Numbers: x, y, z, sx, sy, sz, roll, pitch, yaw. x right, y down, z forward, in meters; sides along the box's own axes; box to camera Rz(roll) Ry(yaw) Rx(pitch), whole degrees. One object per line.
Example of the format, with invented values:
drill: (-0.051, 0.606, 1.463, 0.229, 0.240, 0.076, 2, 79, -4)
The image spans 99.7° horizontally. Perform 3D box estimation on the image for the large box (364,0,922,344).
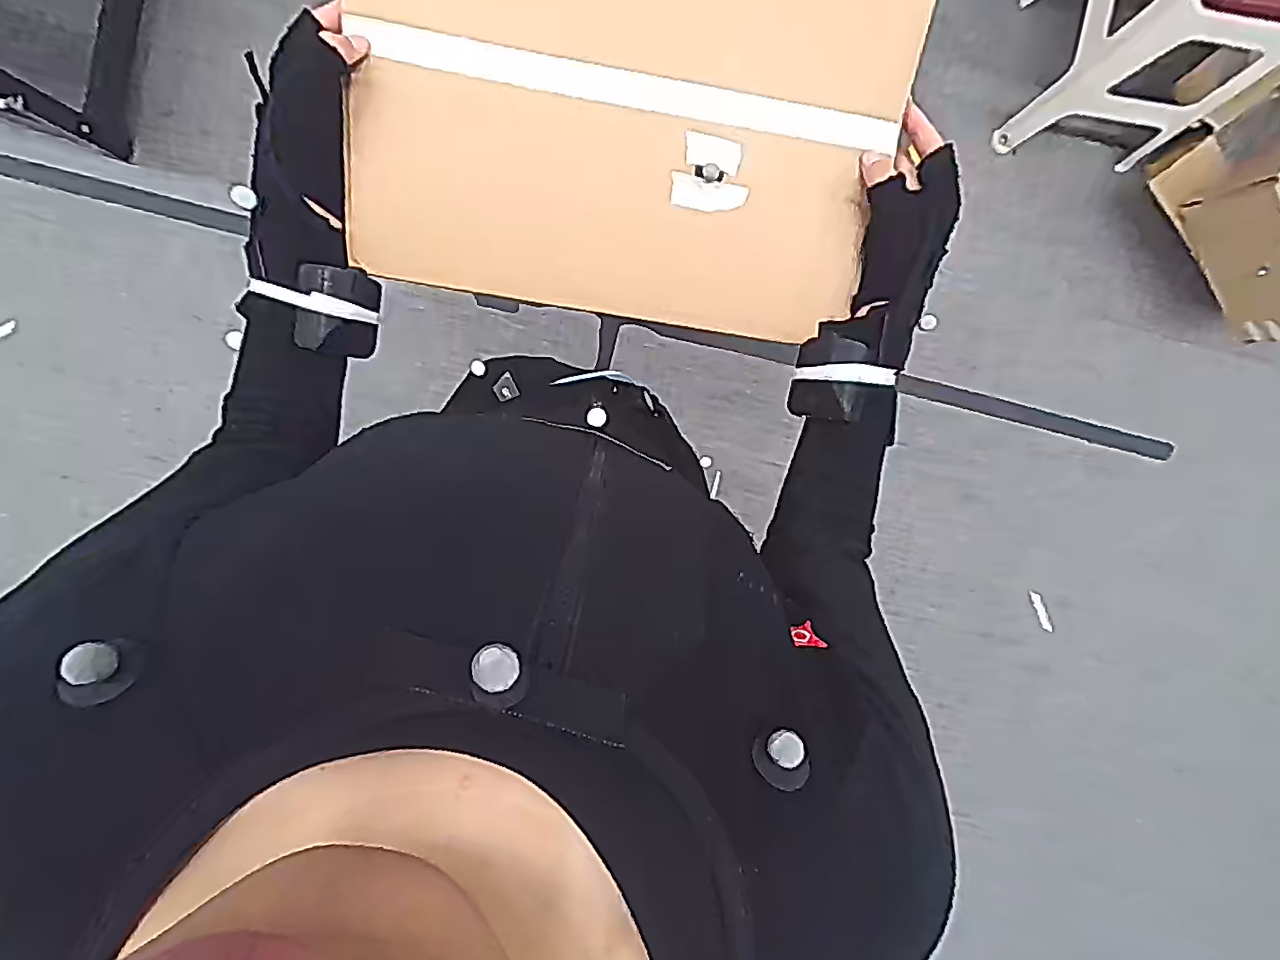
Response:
large box: (-0.012, -0.333, 0.548, 0.408, 0.320, 0.320, 7, 110, -6)
